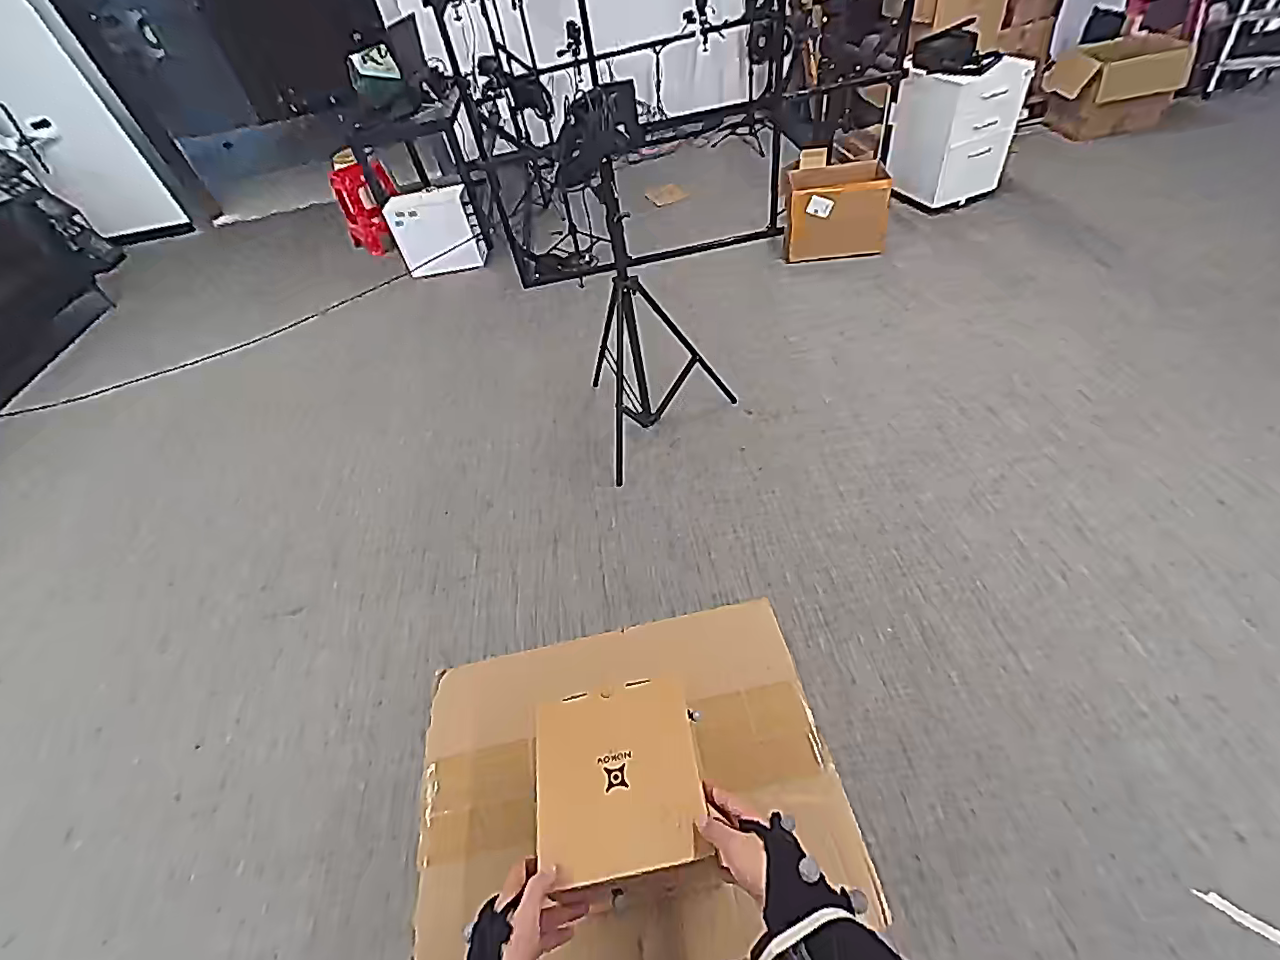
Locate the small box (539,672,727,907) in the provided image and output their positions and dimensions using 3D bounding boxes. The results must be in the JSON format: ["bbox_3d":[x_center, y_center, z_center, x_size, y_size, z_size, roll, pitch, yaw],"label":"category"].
[{"bbox_3d":[-0.007,0.343,0.592,0.168,0.176,0.179,-13,44,0],"label":"small box"}]
